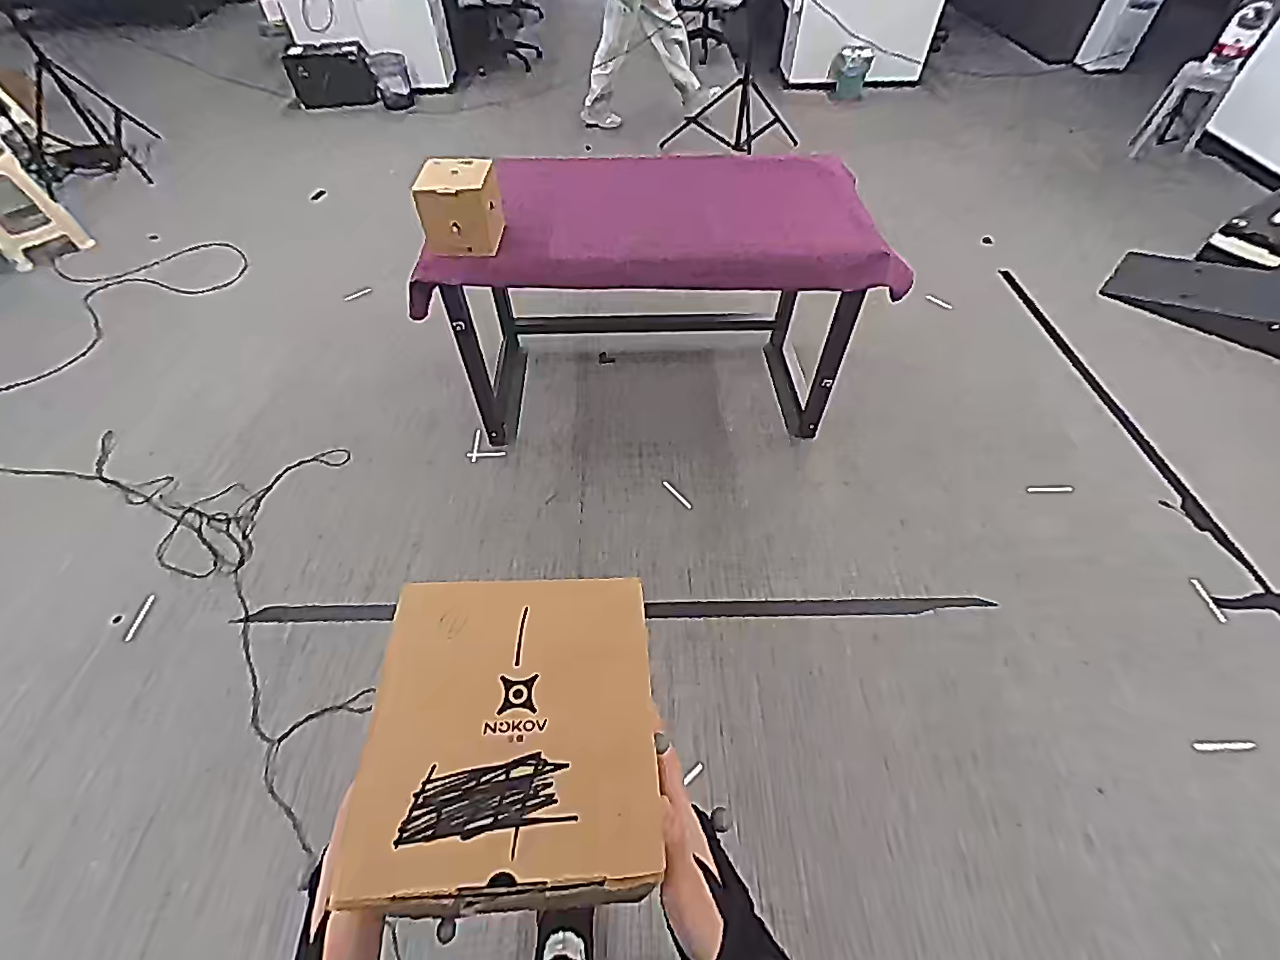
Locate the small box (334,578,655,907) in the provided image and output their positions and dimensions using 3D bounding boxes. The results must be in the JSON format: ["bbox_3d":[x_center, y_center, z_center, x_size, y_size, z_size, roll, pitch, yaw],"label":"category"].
[{"bbox_3d":[-0.081,0.189,0.386,0.168,0.176,0.179,0,48,-6],"label":"small box"}]

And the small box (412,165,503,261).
[{"bbox_3d":[-0.455,-0.678,1.380,0.168,0.176,0.179,0,52,-1],"label":"small box"}]
